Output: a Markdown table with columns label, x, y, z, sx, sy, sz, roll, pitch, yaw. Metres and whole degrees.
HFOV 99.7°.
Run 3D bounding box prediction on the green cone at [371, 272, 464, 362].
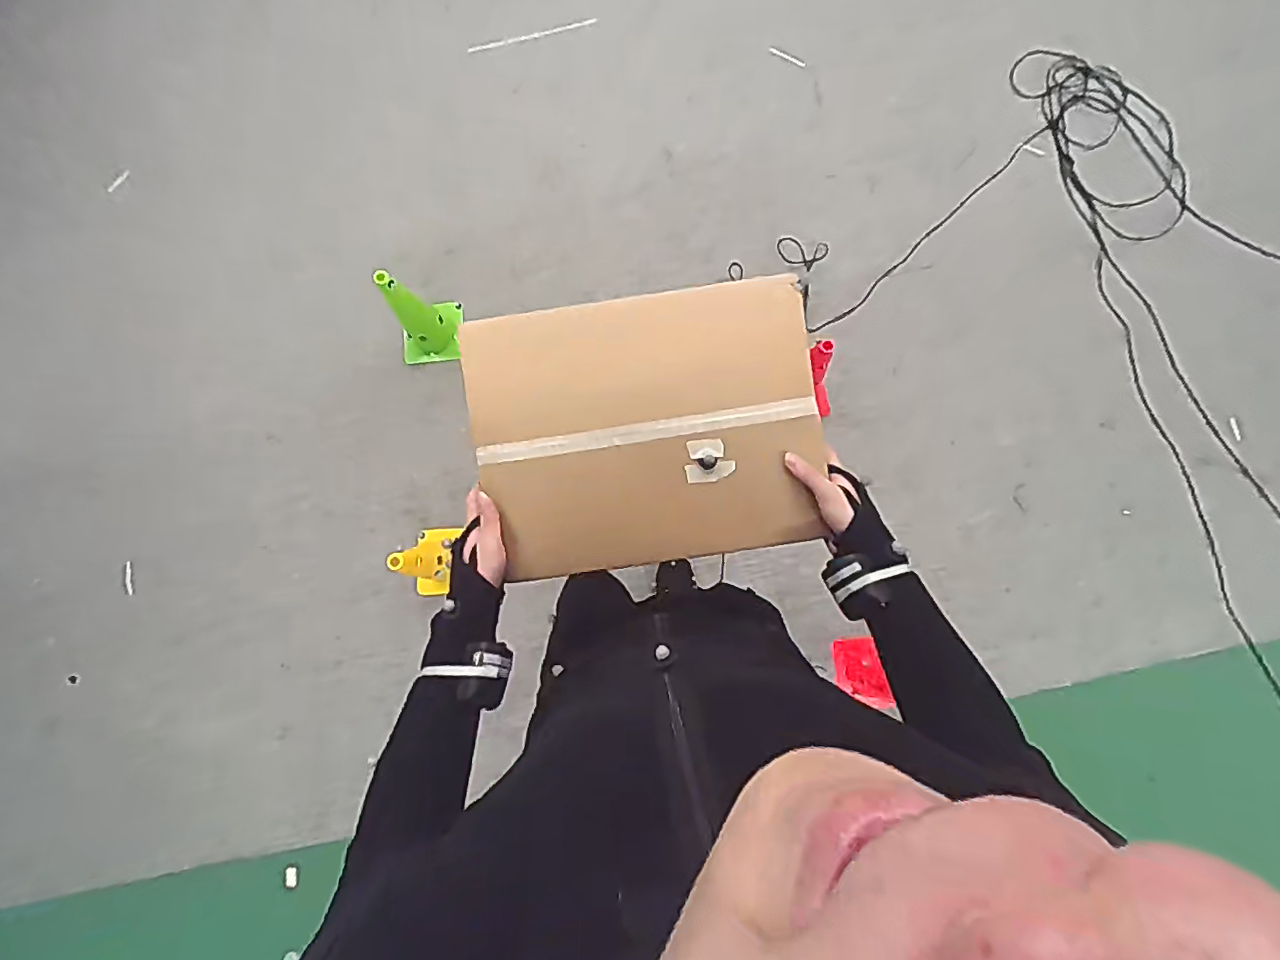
| label | x | y | z | sx | sy | sz | roll | pitch | yaw |
| --- | --- | --- | --- | --- | --- | --- | --- | --- | --- |
| green cone | -0.690 | -0.514 | 1.605 | 0.200 | 0.368 | 0.202 | -6 | 83 | 1 |

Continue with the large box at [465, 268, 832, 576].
| label | x | y | z | sx | sy | sz | roll | pitch | yaw |
| --- | --- | --- | --- | --- | --- | --- | --- | --- | --- |
| large box | 0.010 | -0.071 | 0.791 | 0.408 | 0.320 | 0.320 | -9 | 93 | 0 |

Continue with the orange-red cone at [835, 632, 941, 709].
| label | x | y | z | sx | sy | sz | roll | pitch | yaw |
| --- | --- | --- | --- | --- | --- | --- | --- | --- | --- |
| orange-red cone | 0.671 | 0.523 | 1.403 | 0.199 | 0.360 | 0.198 | -5 | 82 | 0 |
